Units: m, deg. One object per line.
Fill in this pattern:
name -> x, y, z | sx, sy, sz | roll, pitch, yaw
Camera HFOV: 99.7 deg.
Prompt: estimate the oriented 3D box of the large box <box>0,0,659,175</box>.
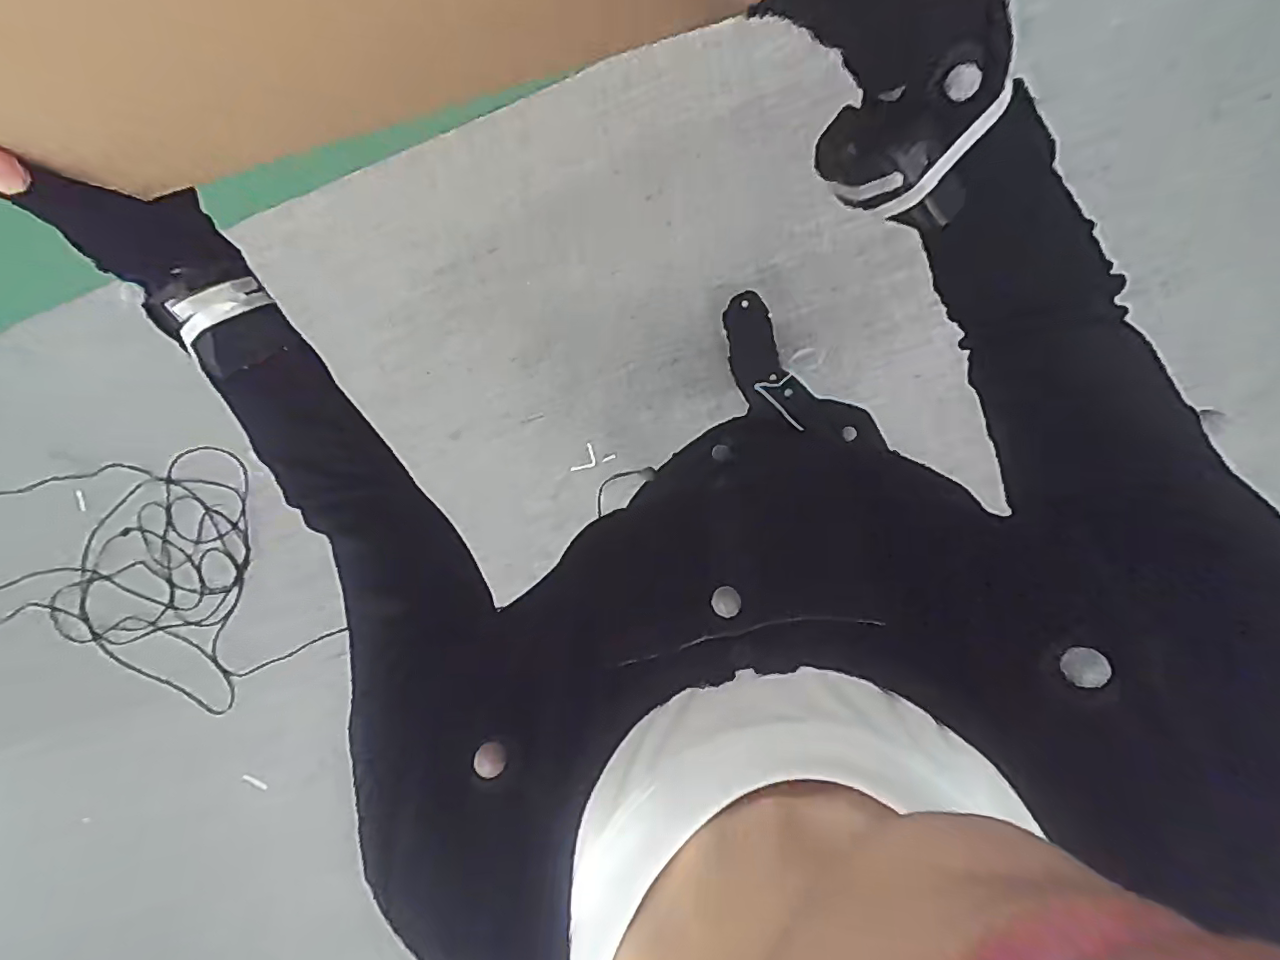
large box -> -0.176, -0.326, 0.120 | 0.408, 0.320, 0.320 | -3, 98, 17
